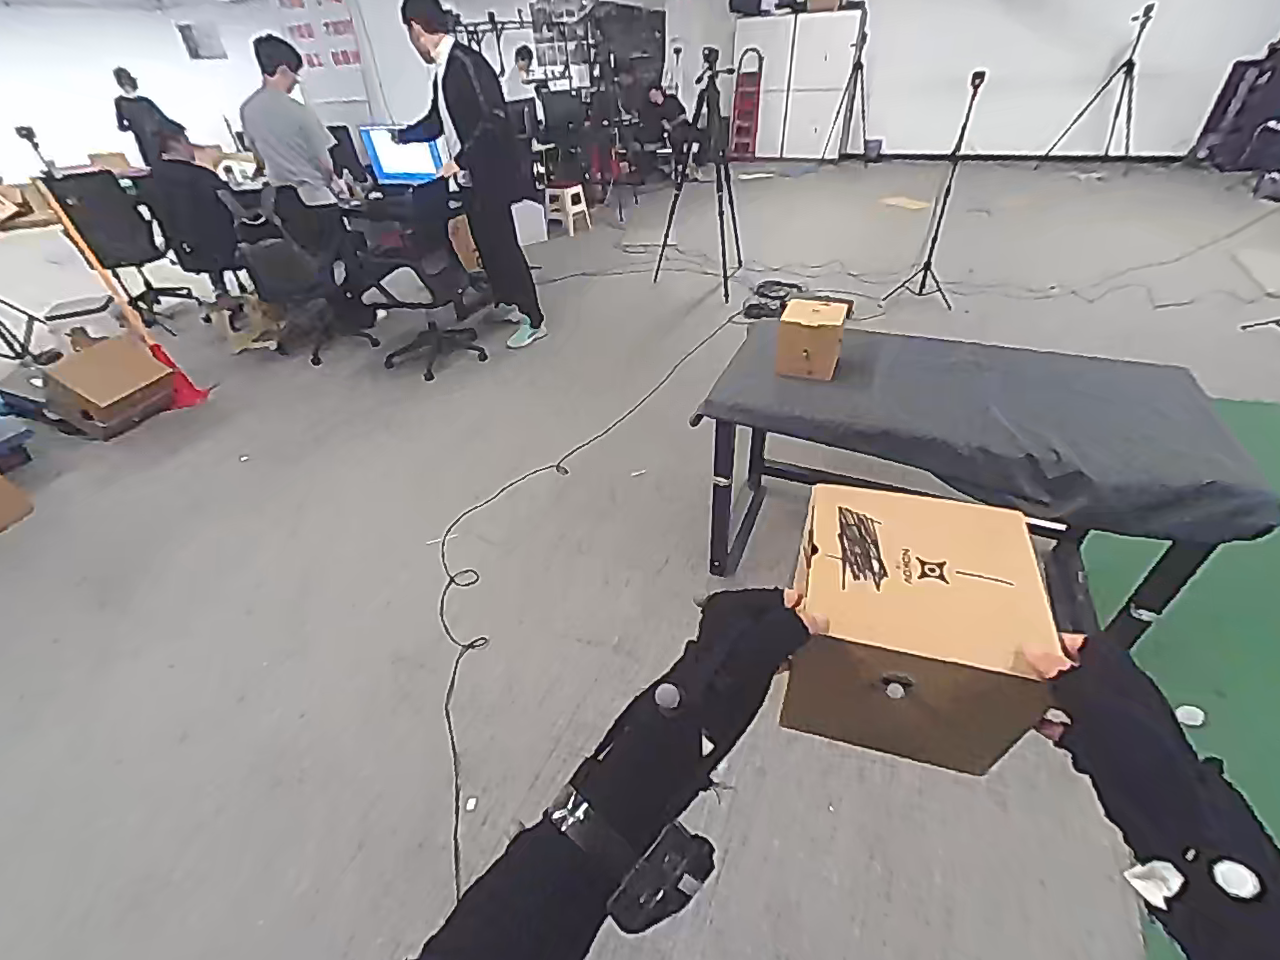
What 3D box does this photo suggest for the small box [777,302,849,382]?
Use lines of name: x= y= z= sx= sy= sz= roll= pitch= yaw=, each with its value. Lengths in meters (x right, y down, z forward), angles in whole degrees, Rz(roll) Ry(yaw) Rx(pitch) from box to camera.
small box: x=0.506 y=-0.406 z=1.591 sx=0.168 sy=0.176 sz=0.179 roll=12 pitch=41 yaw=20

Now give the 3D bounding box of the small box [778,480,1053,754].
small box: x=0.227 y=0.124 z=0.496 sx=0.179 sy=0.176 sz=0.168 roll=8 pitch=45 yaw=15
